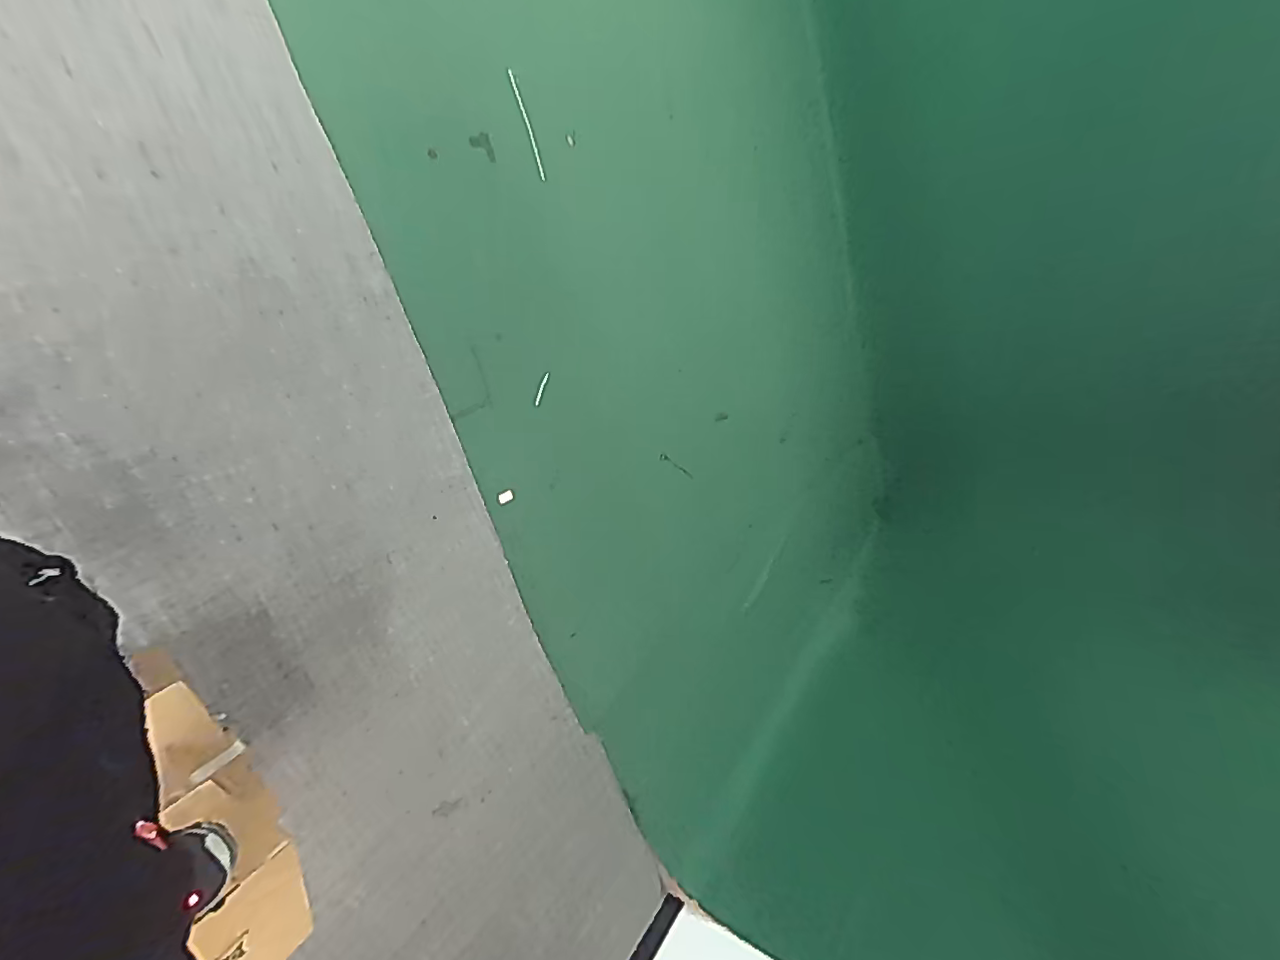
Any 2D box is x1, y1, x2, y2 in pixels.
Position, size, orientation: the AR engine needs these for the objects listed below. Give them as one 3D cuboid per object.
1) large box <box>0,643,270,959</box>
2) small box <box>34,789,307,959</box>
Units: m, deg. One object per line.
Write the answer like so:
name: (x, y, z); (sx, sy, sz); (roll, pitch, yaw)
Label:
large box: (-0.917, 0.536, 0.867); (0.408, 0.320, 0.320); (-36, 116, -41)
small box: (-0.531, 0.507, 0.629); (0.168, 0.176, 0.179); (-38, 137, -60)
